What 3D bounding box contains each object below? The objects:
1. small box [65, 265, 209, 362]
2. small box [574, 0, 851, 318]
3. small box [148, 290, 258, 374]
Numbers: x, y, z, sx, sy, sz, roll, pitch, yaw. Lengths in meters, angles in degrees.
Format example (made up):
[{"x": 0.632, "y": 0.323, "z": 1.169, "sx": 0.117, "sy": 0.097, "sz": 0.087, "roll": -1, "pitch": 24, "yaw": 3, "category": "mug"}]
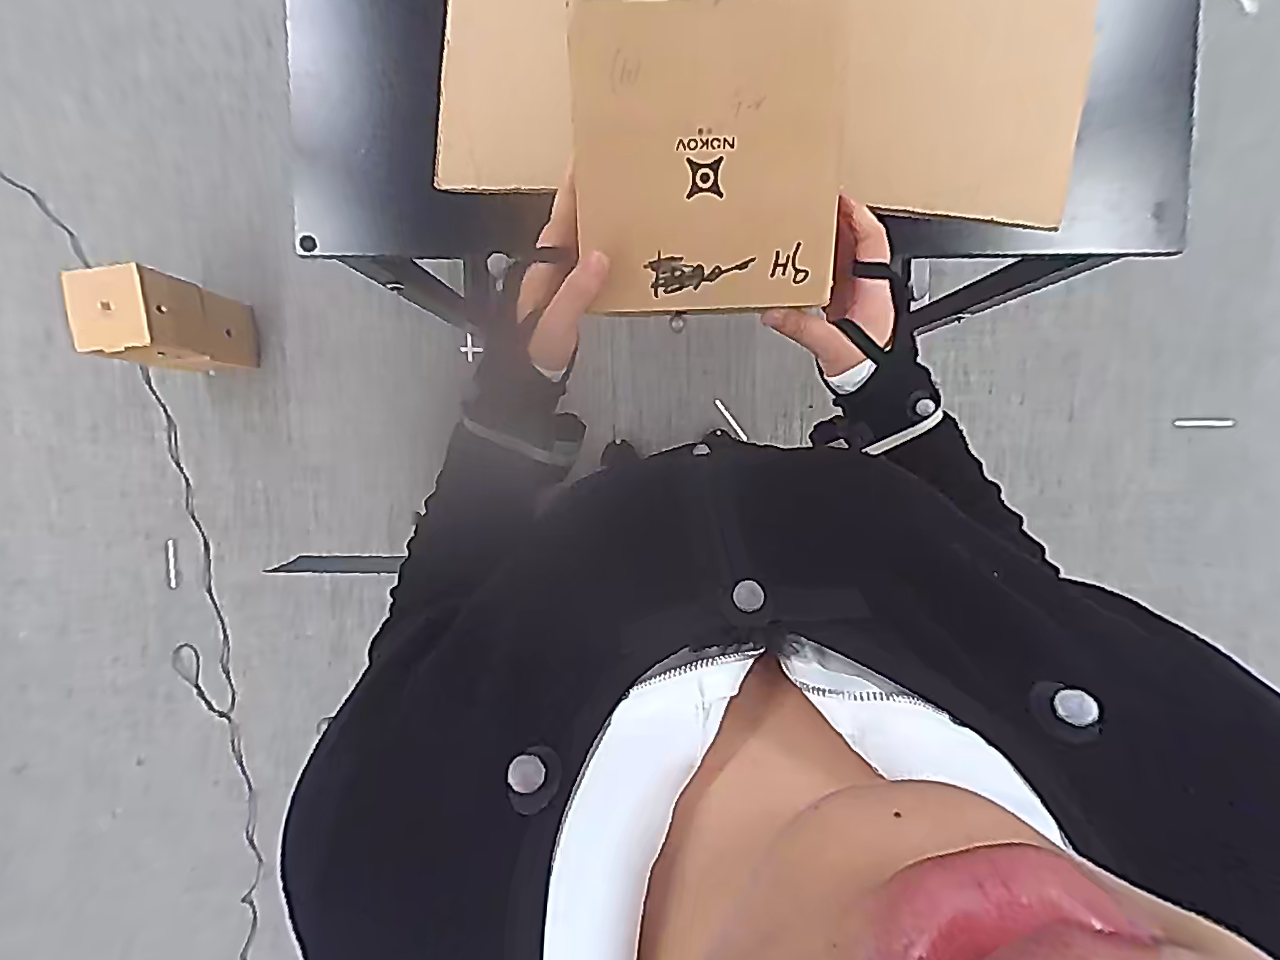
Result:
[{"x": -1.138, "y": -0.371, "z": 1.239, "sx": 0.168, "sy": 0.176, "sz": 0.179, "roll": -7, "pitch": 93, "yaw": 0, "category": "small box"}, {"x": 0.043, "y": -0.219, "z": 0.410, "sx": 0.168, "sy": 0.176, "sz": 0.179, "roll": -1, "pitch": 106, "yaw": 1, "category": "small box"}, {"x": -1.133, "y": -0.378, "z": 1.401, "sx": 0.168, "sy": 0.176, "sz": 0.179, "roll": -4, "pitch": 95, "yaw": 1, "category": "small box"}]
